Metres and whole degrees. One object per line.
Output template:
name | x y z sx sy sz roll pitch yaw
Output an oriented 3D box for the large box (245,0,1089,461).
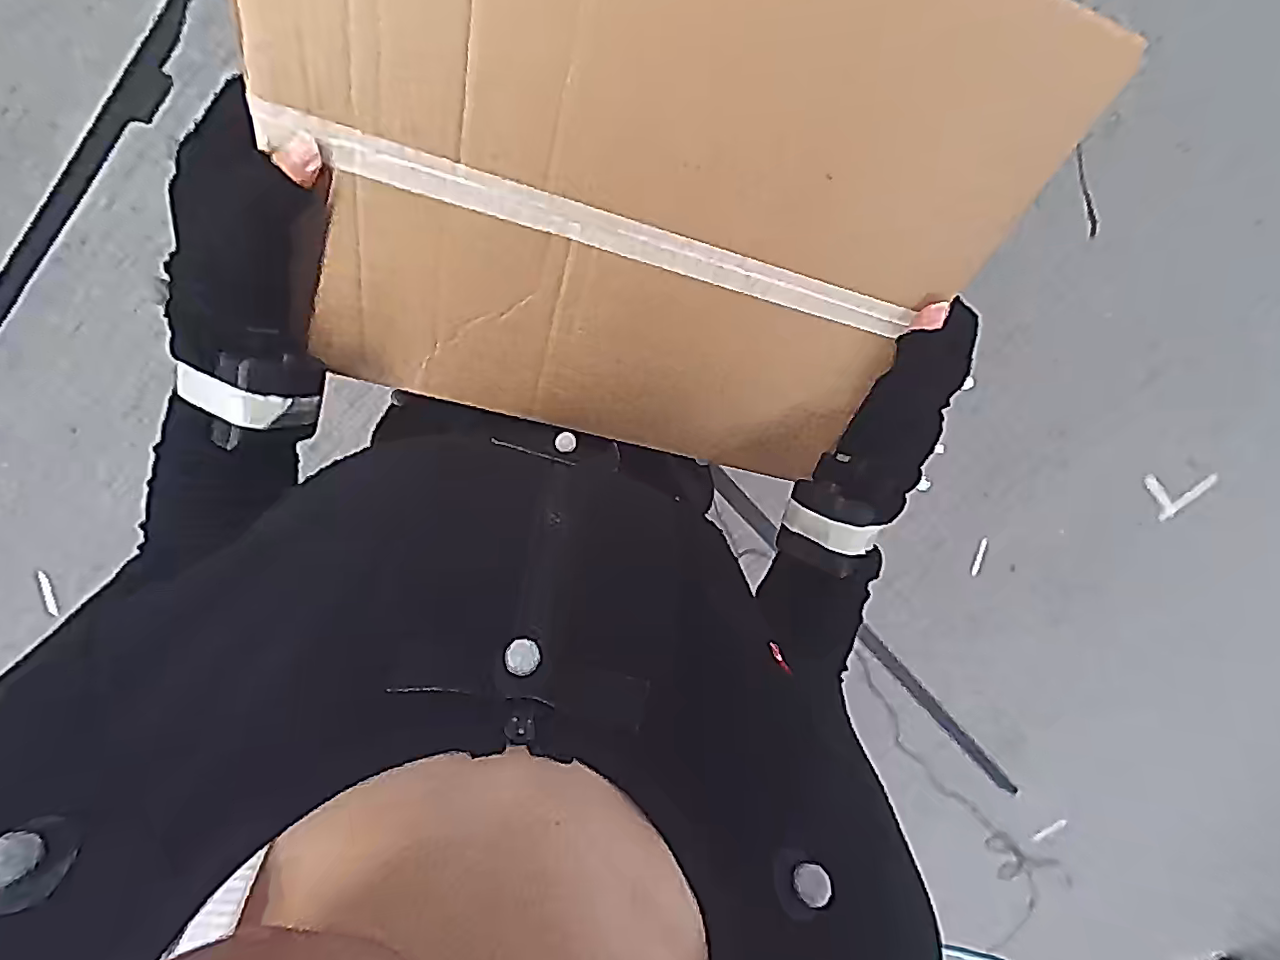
large box | -0.008 -0.258 0.431 0.408 0.320 0.320 11 135 -12
